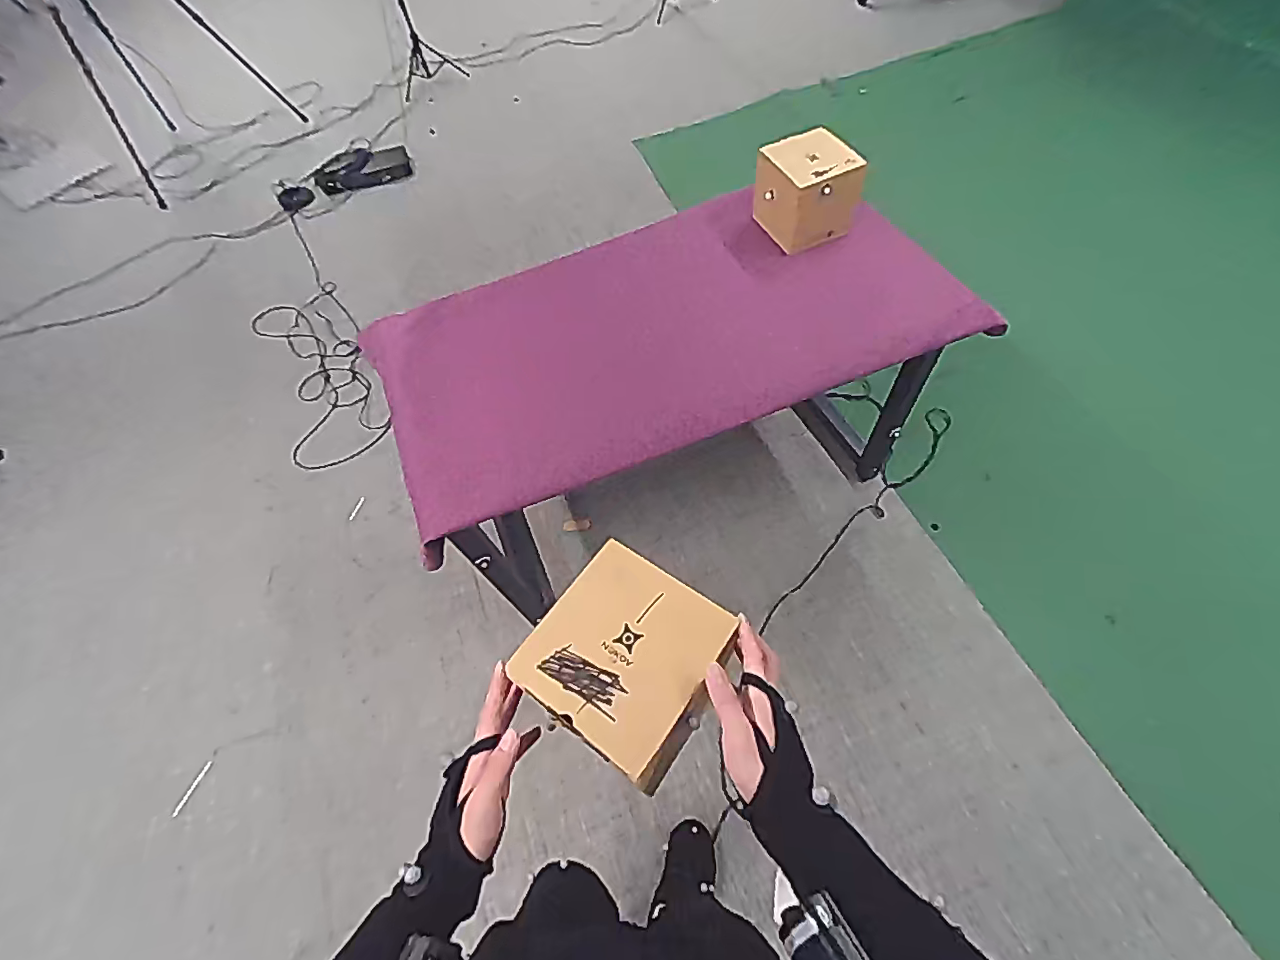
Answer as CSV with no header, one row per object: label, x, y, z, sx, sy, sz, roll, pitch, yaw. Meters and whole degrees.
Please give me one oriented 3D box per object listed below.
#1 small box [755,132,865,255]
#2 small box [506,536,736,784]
small box,0.378,-0.654,1.243,0.168,0.176,0.179,-24,59,-6
small box,-0.010,0.202,0.593,0.168,0.176,0.179,30,63,23
